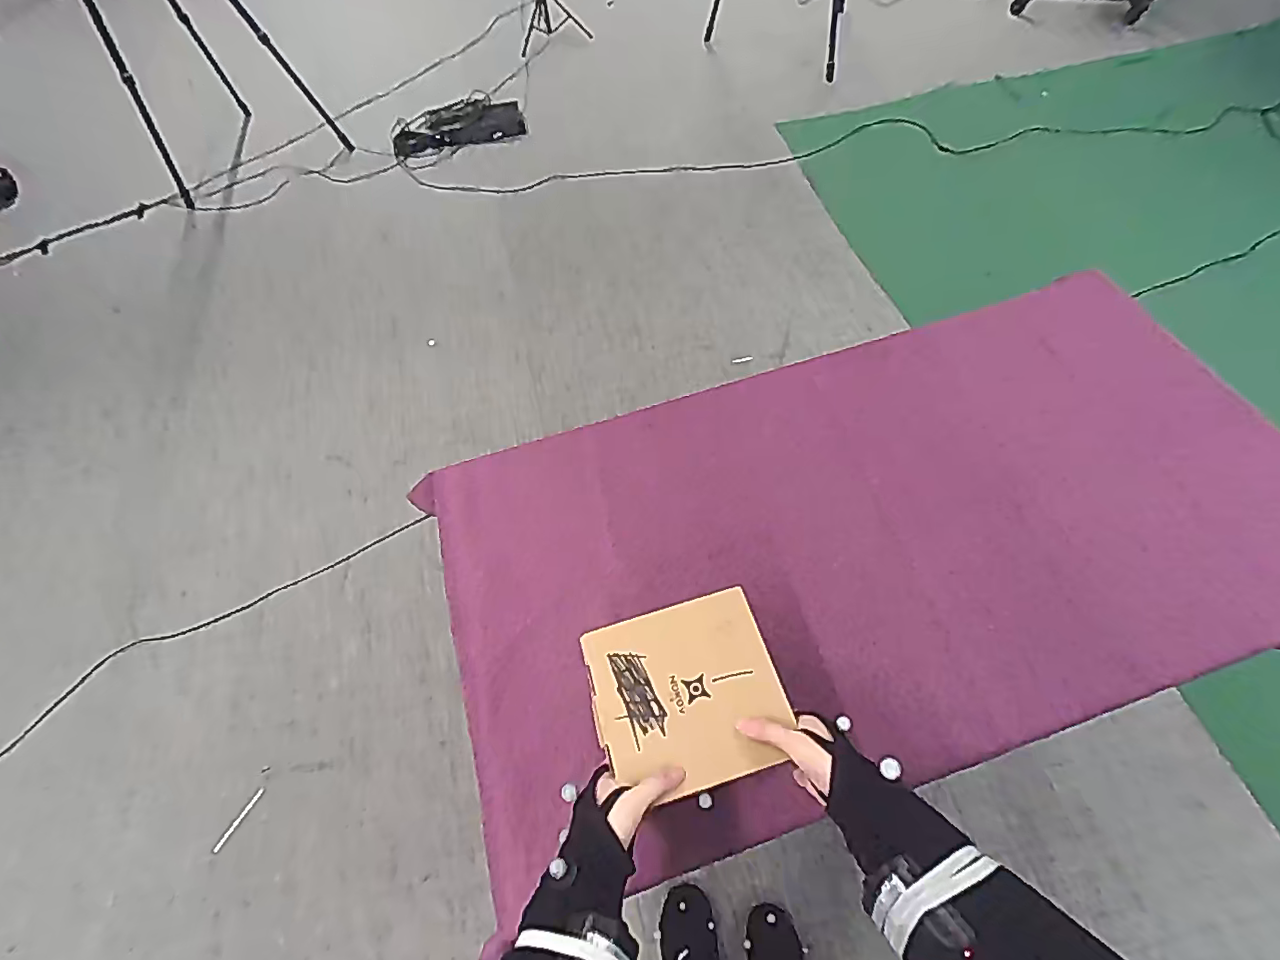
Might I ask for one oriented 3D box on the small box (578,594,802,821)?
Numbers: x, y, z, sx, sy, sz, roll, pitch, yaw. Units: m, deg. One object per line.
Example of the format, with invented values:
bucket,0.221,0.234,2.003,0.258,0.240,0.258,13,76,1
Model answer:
small box,0.048,0.250,0.581,0.179,0.176,0.168,-17,59,-5
